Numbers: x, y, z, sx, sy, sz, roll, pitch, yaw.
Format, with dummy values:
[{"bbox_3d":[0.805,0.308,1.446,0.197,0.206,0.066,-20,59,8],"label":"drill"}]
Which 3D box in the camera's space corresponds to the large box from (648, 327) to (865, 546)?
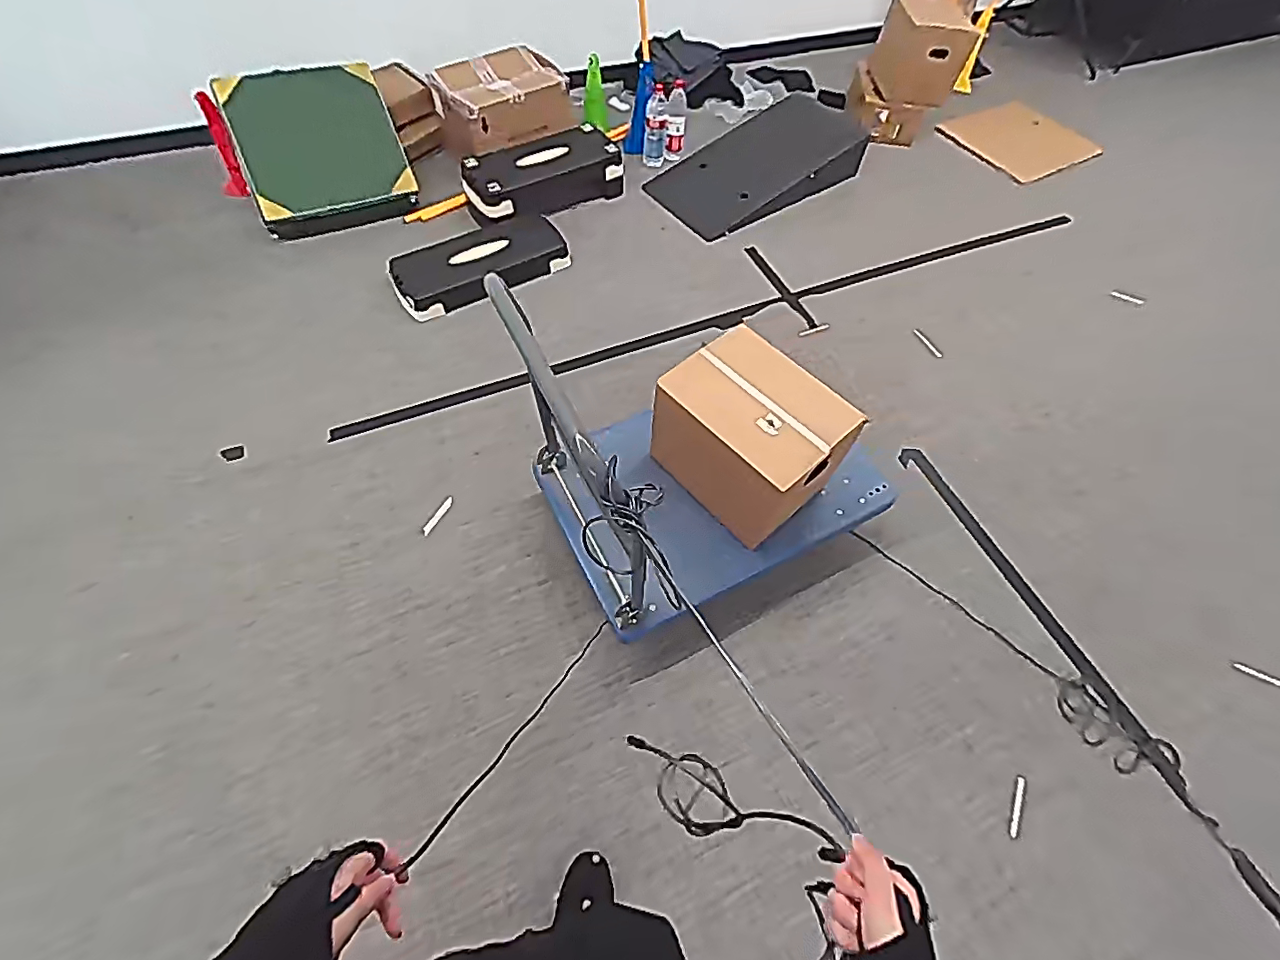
[{"bbox_3d":[0.273,-0.109,1.396,0.320,0.320,0.408,-37,68,-21],"label":"large box"}]
